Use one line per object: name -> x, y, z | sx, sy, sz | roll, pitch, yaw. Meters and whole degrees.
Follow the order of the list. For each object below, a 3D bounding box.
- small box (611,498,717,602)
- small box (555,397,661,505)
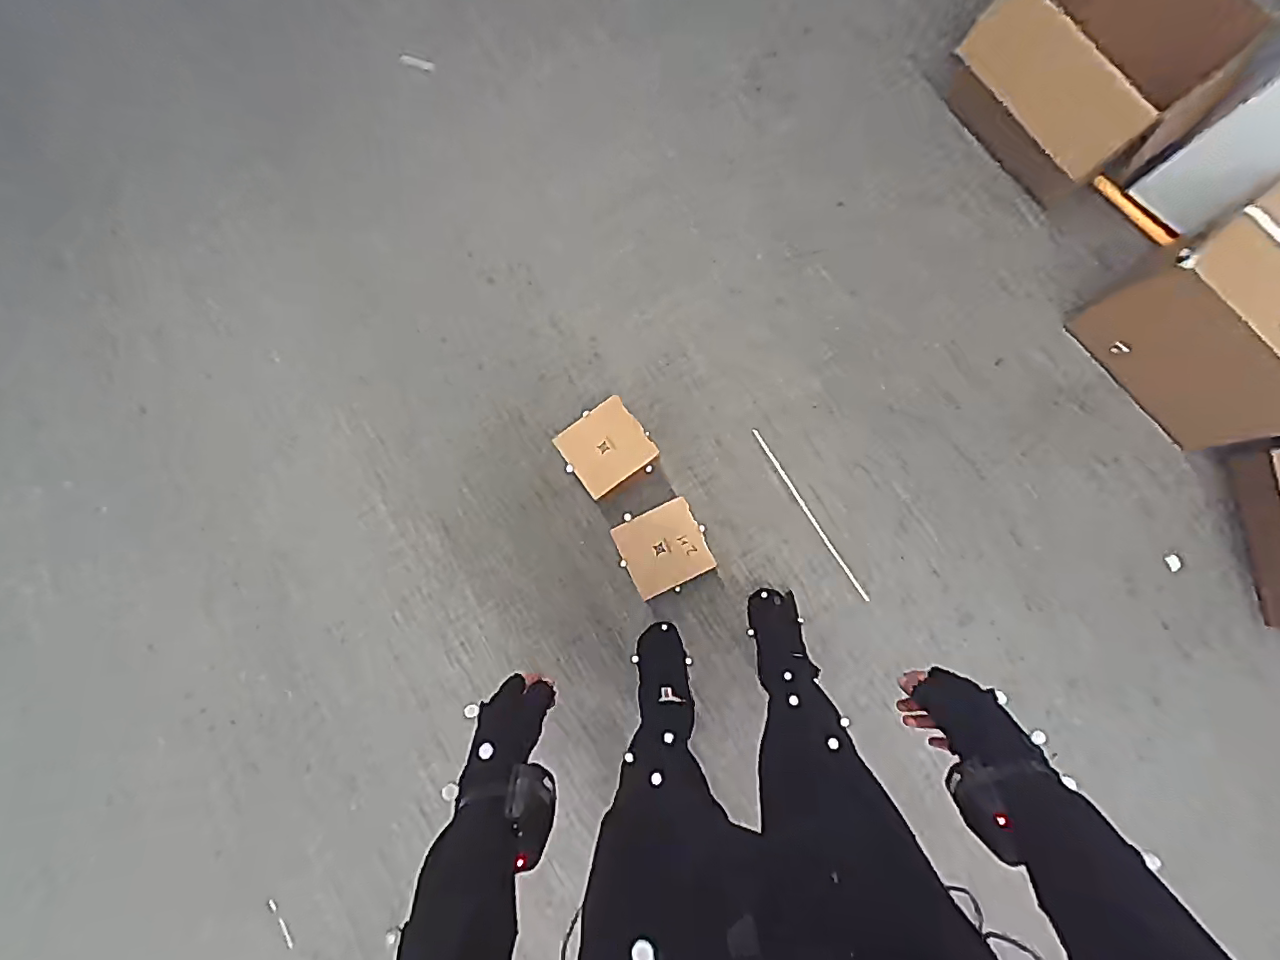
small box -> 0.055, 0.155, 1.201 | 0.179, 0.176, 0.168 | -25, 83, -1
small box -> -0.065, -0.057, 1.233 | 0.179, 0.176, 0.168 | -36, 83, -2
